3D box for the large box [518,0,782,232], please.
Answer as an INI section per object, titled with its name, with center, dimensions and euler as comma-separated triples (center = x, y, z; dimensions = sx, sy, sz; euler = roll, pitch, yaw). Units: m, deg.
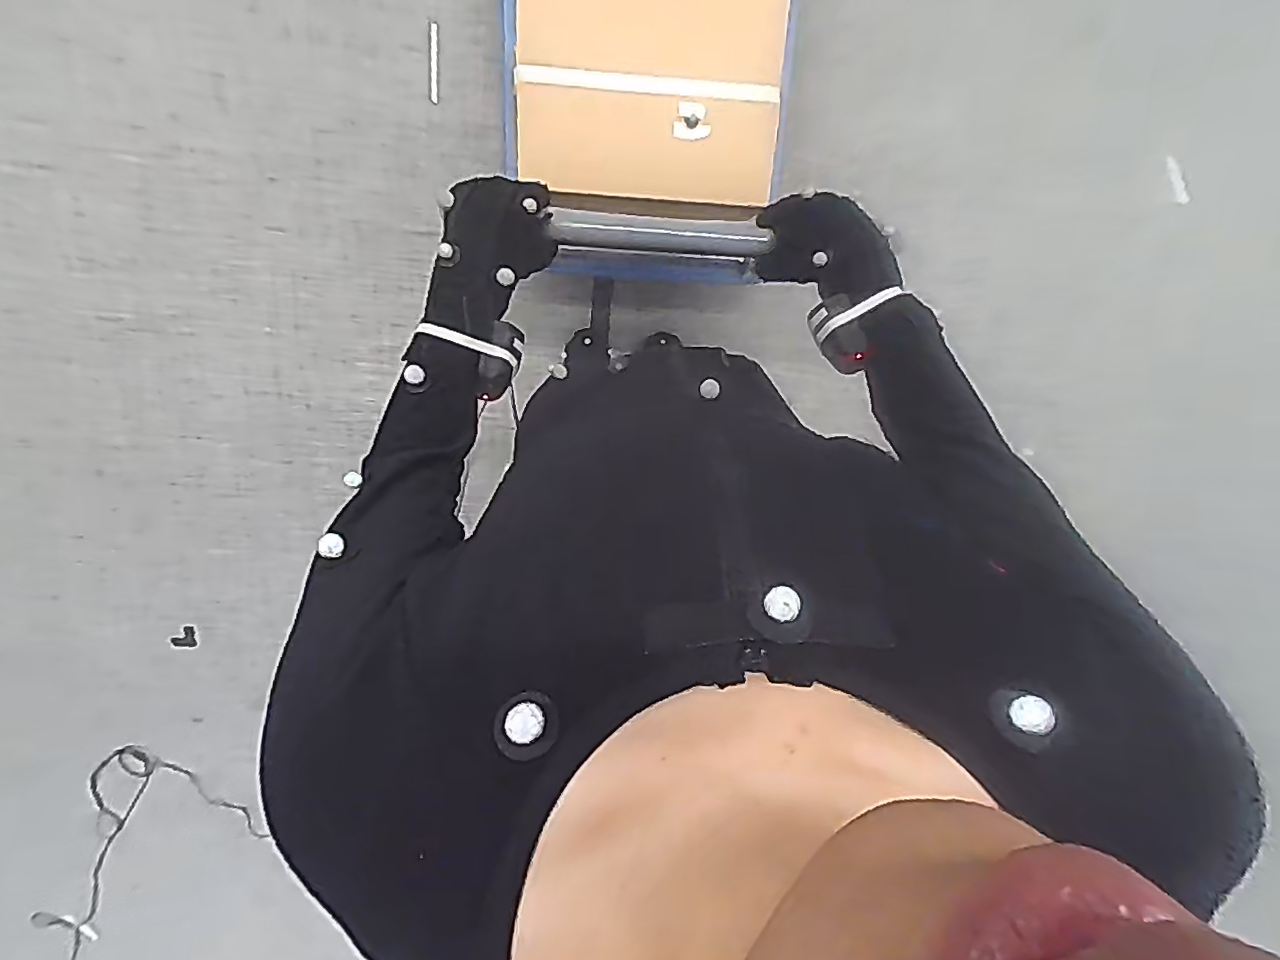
[large box]
center = 0.002, -0.651, 0.983
dimensions = 0.408, 0.320, 0.320
euler = 1, 106, -5
